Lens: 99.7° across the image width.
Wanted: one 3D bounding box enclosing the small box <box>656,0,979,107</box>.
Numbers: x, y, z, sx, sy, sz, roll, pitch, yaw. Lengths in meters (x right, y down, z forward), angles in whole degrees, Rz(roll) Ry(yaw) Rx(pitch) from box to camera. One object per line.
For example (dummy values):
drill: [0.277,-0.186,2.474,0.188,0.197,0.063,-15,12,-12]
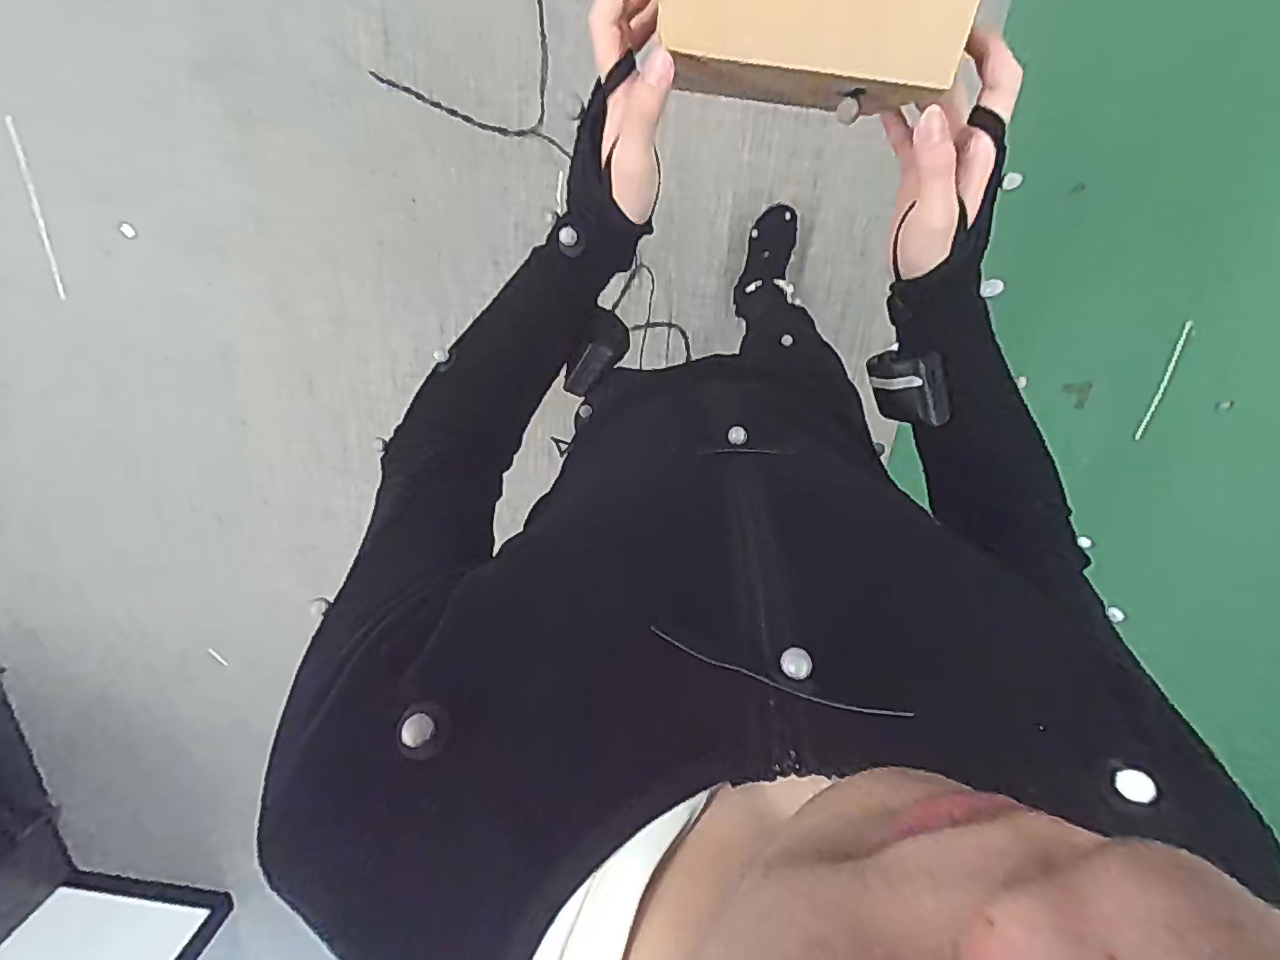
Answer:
small box: [0.111,-0.350,0.342,0.179,0.176,0.168,8,120,1]
